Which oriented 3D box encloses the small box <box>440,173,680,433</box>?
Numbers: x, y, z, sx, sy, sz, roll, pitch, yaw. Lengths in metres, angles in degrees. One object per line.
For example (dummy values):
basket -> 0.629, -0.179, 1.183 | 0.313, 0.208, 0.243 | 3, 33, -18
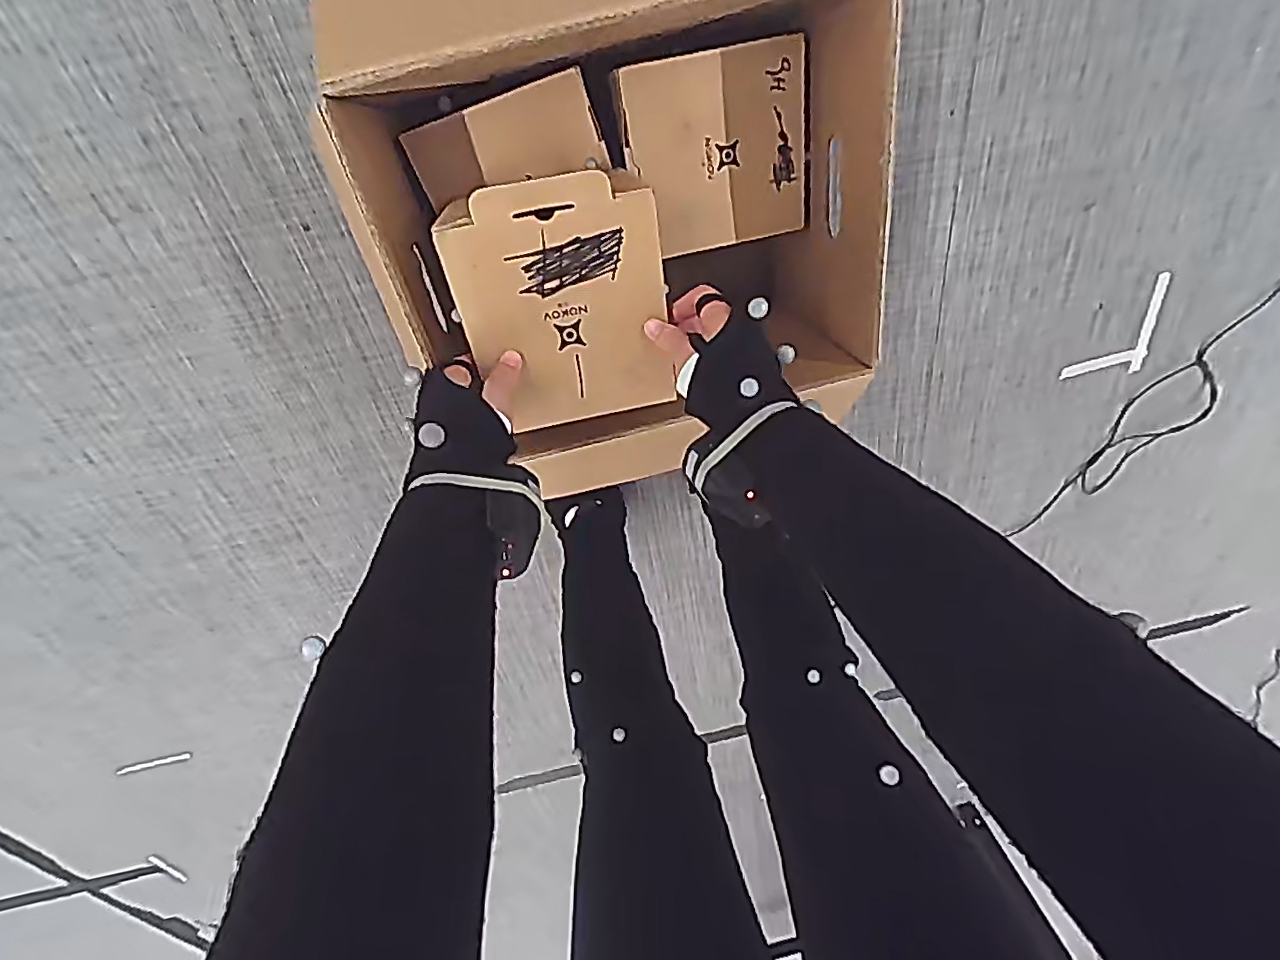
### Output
small box -> -0.068, -0.171, 0.497 | 0.168, 0.176, 0.179 | -12, 126, -4
